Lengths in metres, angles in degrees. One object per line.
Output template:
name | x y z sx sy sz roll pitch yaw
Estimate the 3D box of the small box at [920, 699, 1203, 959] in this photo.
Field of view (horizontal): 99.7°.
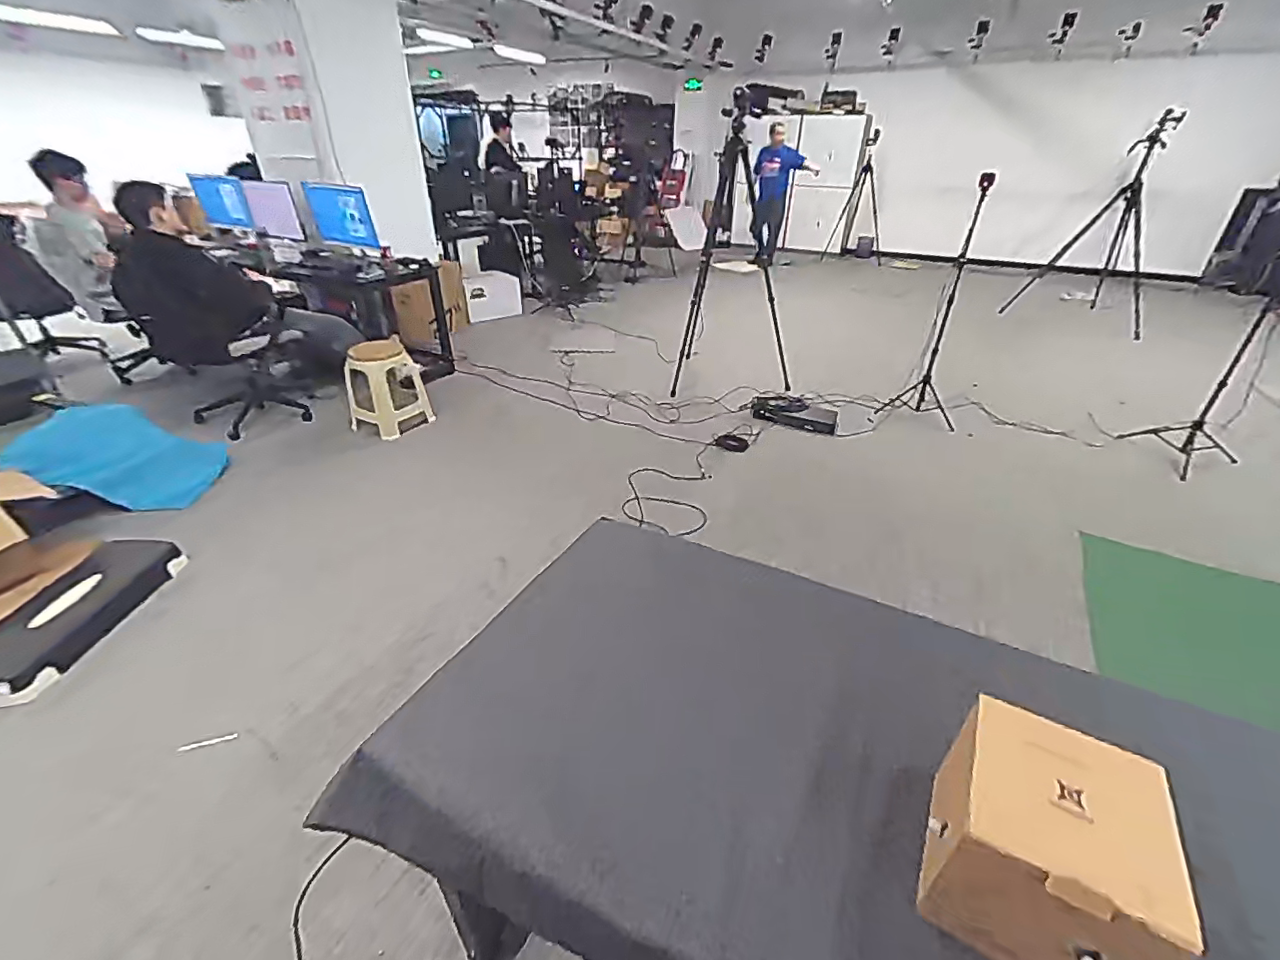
small box | 0.399 0.372 0.546 0.168 0.176 0.179 19 35 25
